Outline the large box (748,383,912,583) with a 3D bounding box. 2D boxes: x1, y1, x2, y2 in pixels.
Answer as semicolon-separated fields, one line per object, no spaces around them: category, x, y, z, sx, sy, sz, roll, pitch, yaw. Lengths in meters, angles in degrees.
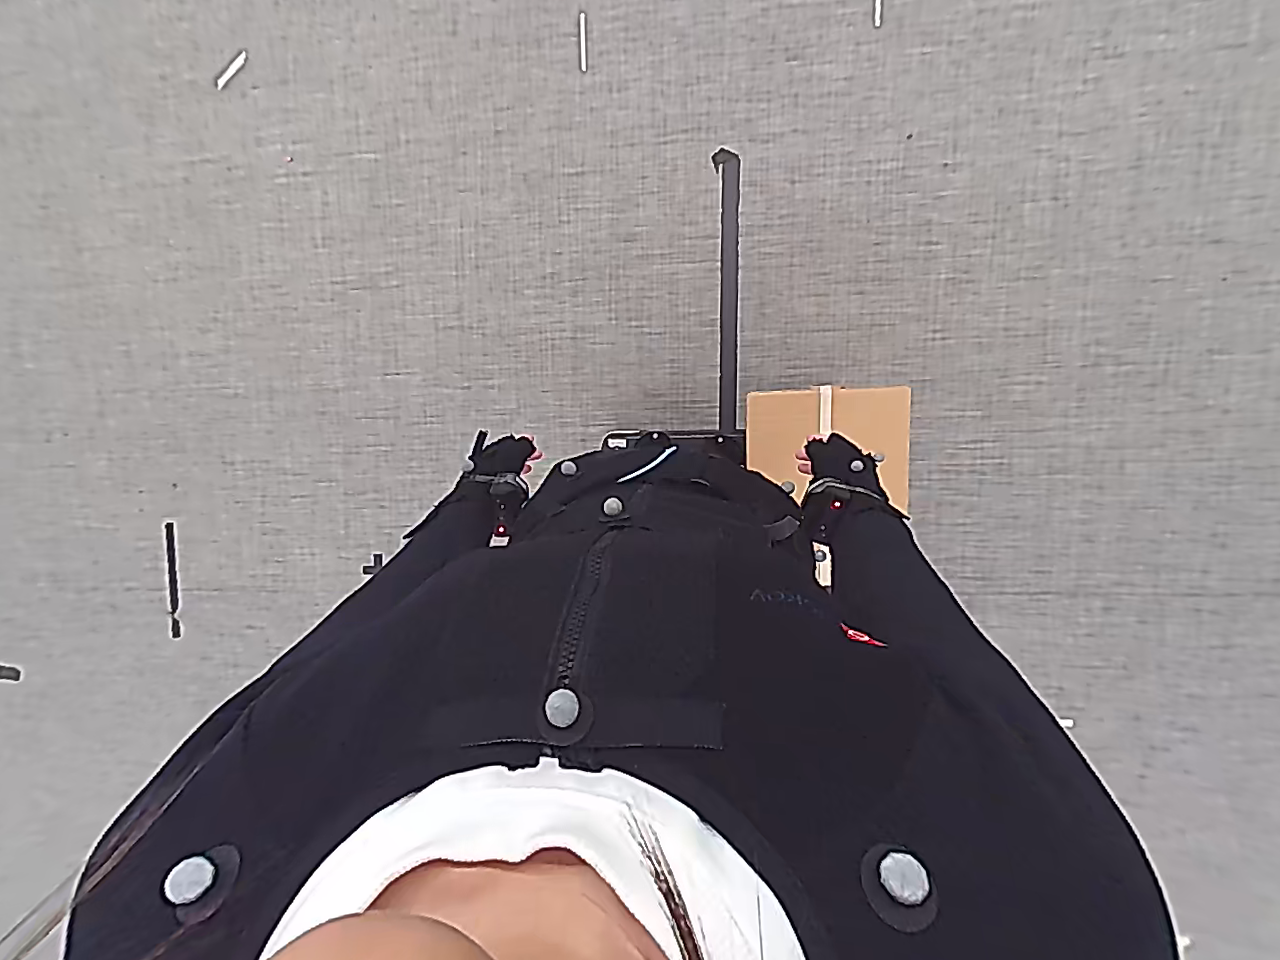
large box;0.414;-0.006;1.243;0.320;0.320;0.408;0;97;13
